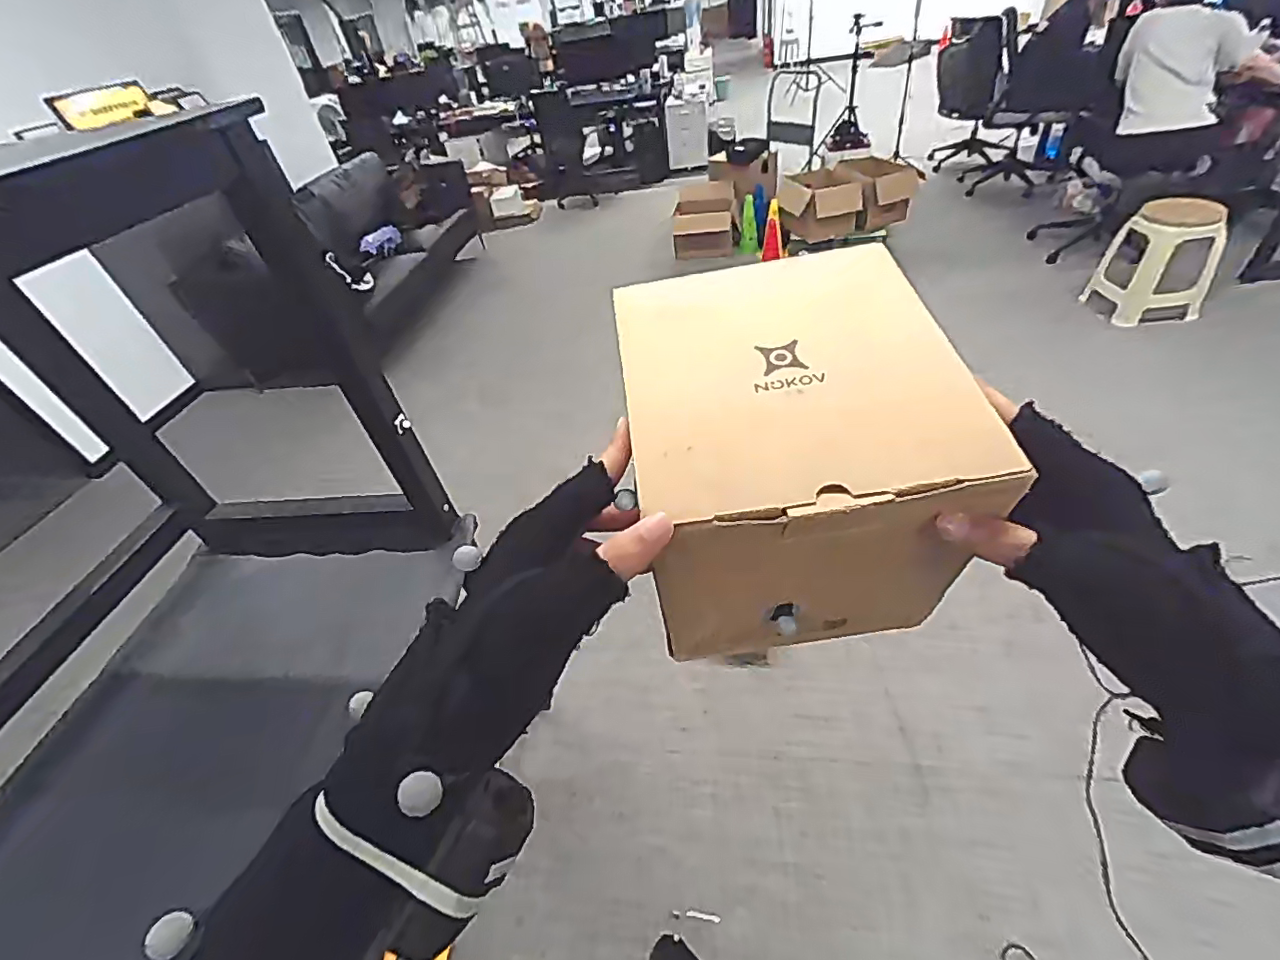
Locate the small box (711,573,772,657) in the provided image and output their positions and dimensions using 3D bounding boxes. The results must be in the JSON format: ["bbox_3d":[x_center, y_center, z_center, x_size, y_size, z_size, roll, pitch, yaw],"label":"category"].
[{"bbox_3d":[0.307,0.403,1.620,0.168,0.176,0.179,2,44,15],"label":"small box"}]
